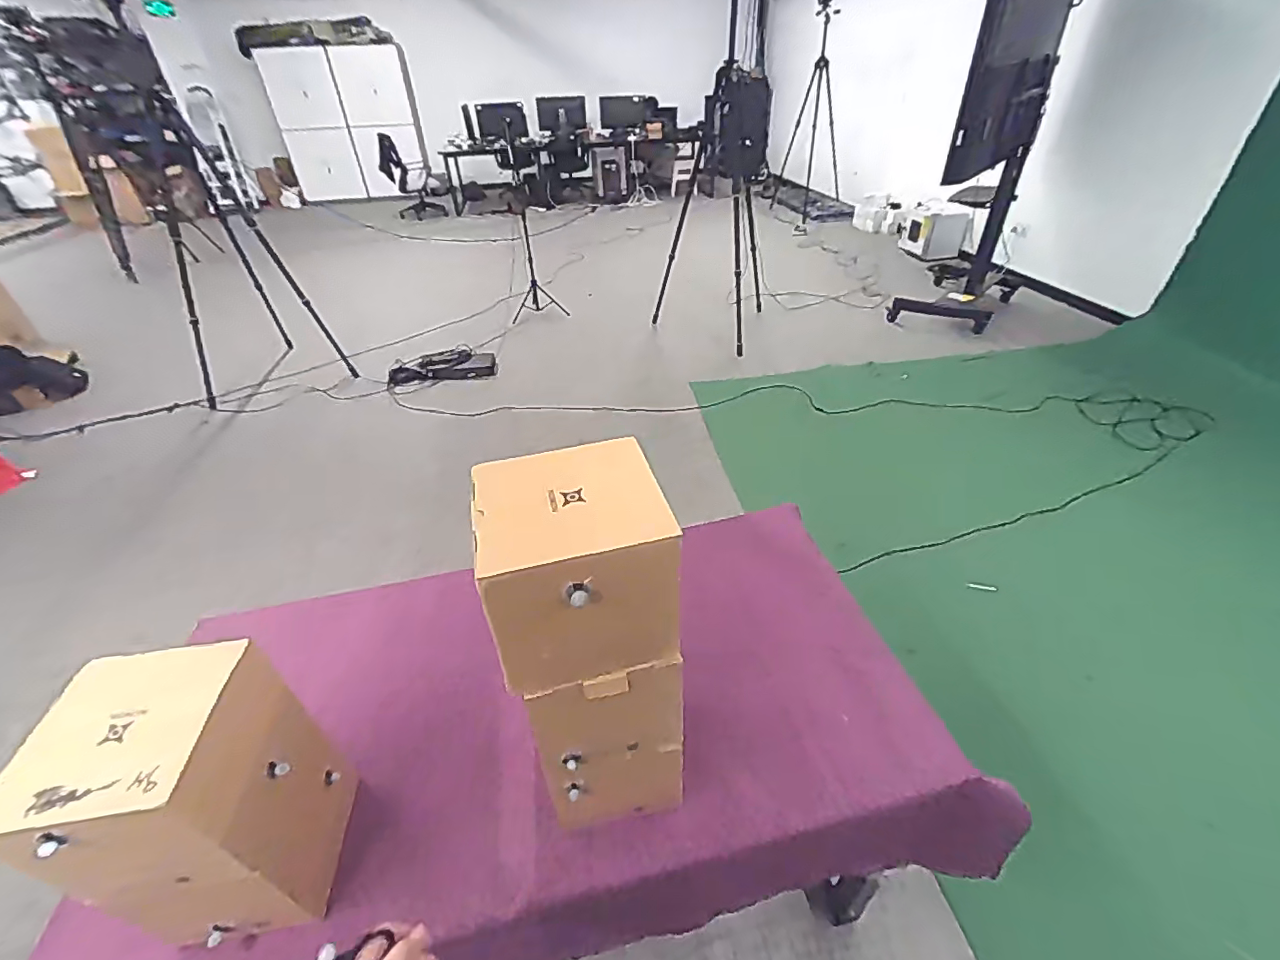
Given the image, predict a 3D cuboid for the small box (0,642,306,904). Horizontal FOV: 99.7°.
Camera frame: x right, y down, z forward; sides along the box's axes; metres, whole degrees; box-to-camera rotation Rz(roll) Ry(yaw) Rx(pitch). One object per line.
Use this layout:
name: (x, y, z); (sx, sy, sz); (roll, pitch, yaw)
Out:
small box: (-0.488, 0.302, 0.570); (0.168, 0.176, 0.179); (-8, 36, -4)

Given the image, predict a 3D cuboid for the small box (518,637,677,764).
small box: (-0.054, 0.215, 0.653); (0.168, 0.176, 0.179); (-10, 36, -9)

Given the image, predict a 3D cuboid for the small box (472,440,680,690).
small box: (-0.066, 0.084, 0.556); (0.179, 0.176, 0.168); (-12, 38, -10)

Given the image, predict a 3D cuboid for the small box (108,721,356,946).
small box: (-0.479, 0.433, 0.670); (0.168, 0.176, 0.179); (-7, 38, -4)
